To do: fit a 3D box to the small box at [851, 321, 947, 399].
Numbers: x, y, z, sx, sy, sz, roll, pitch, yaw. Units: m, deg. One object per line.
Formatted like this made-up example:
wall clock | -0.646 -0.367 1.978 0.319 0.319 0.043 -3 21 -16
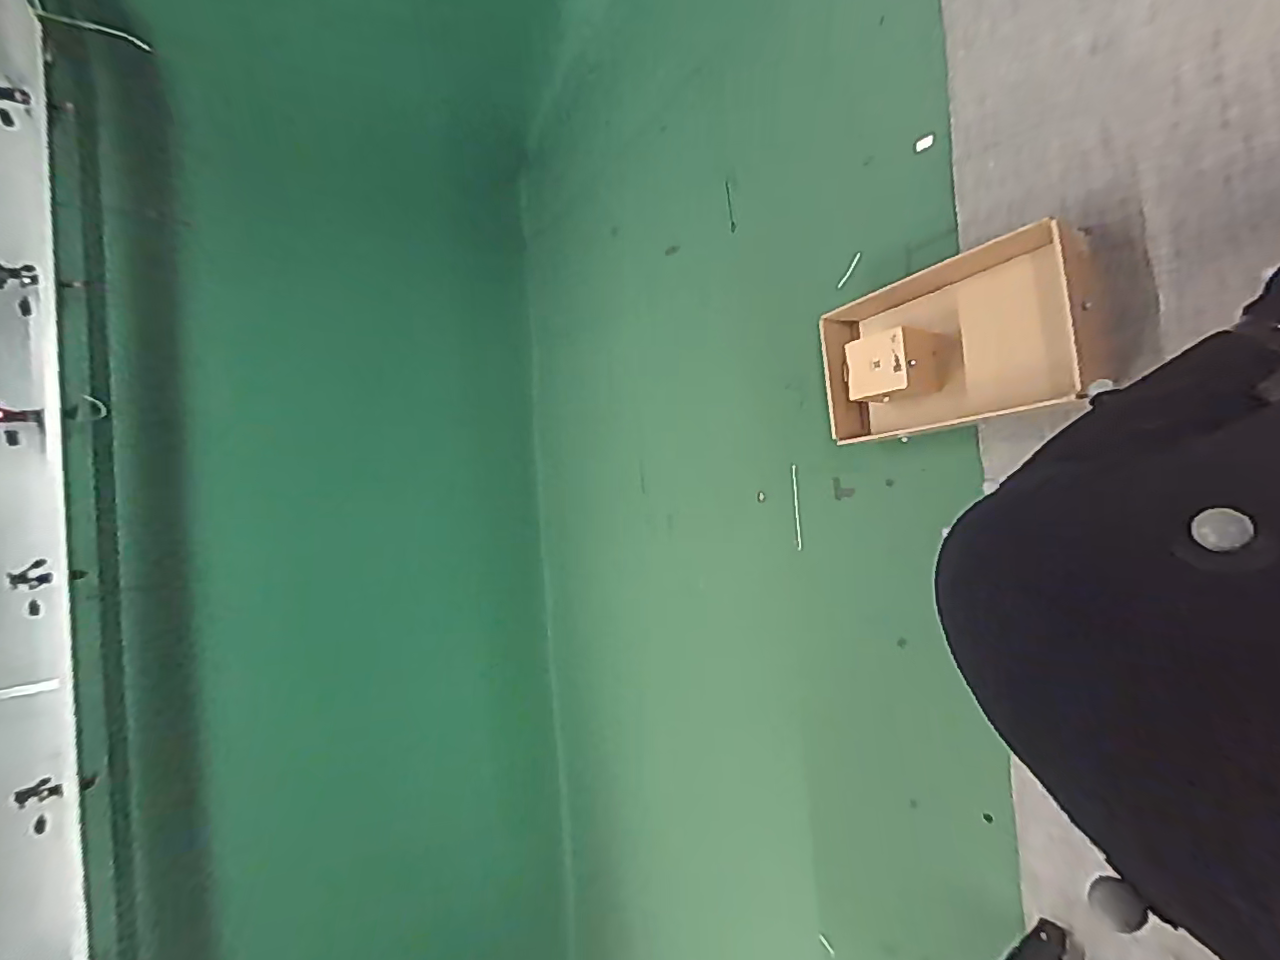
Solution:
small box | 0.715 -0.324 1.498 0.179 0.176 0.168 -9 84 58
